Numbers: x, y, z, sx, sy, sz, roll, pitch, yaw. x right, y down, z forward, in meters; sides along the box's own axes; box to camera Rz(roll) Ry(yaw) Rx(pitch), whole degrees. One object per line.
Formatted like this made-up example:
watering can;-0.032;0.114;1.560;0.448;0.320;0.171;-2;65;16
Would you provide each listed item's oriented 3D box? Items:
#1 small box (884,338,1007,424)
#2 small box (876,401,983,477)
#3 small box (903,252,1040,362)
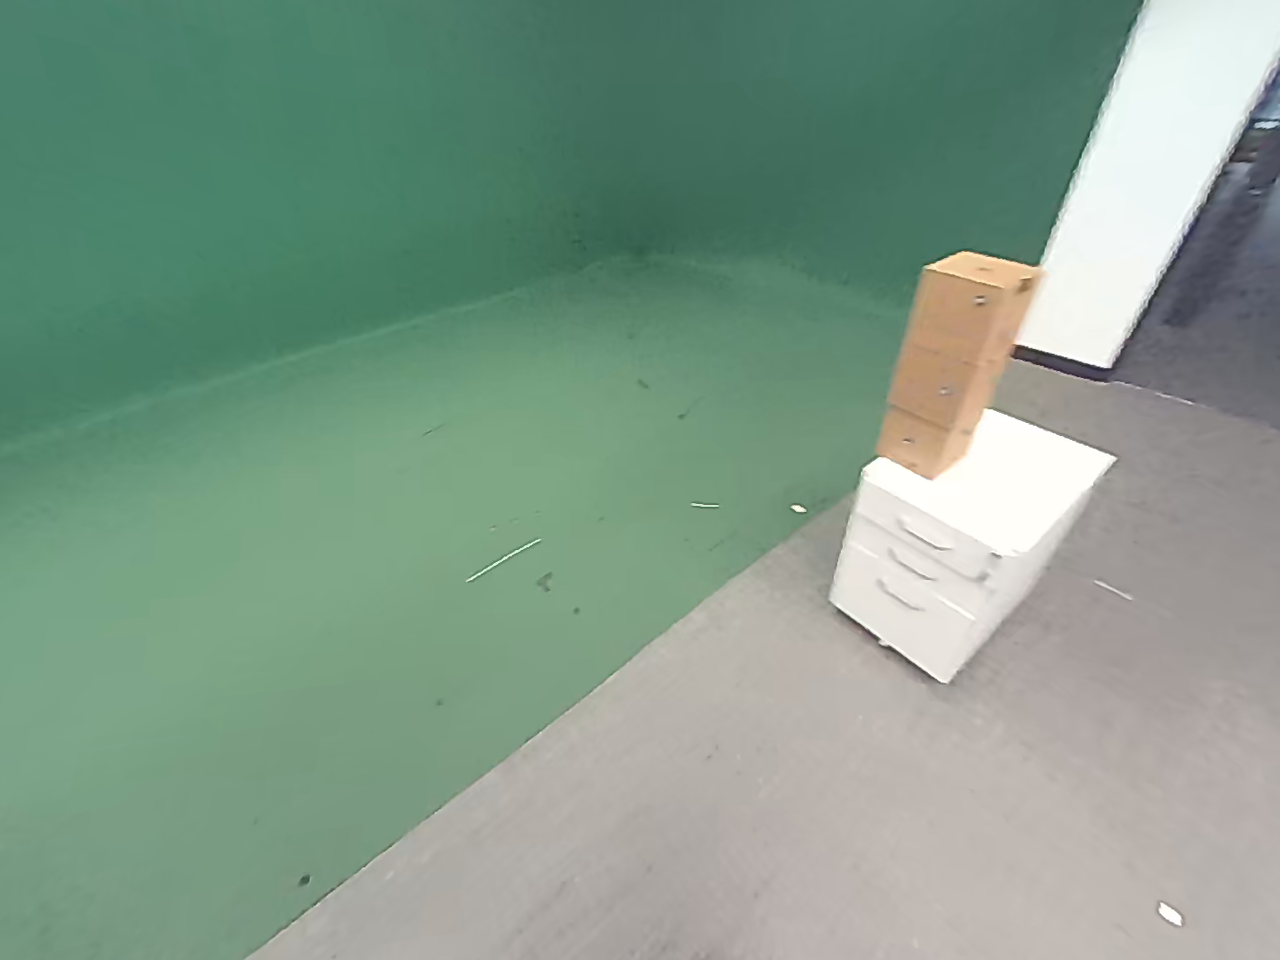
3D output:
small box;0.719;-0.252;1.287;0.168;0.176;0.179;-29;46;-28
small box;0.738;-0.135;1.399;0.179;0.176;0.168;-29;47;-27
small box;0.715;-0.380;1.186;0.168;0.176;0.179;-27;46;-26
